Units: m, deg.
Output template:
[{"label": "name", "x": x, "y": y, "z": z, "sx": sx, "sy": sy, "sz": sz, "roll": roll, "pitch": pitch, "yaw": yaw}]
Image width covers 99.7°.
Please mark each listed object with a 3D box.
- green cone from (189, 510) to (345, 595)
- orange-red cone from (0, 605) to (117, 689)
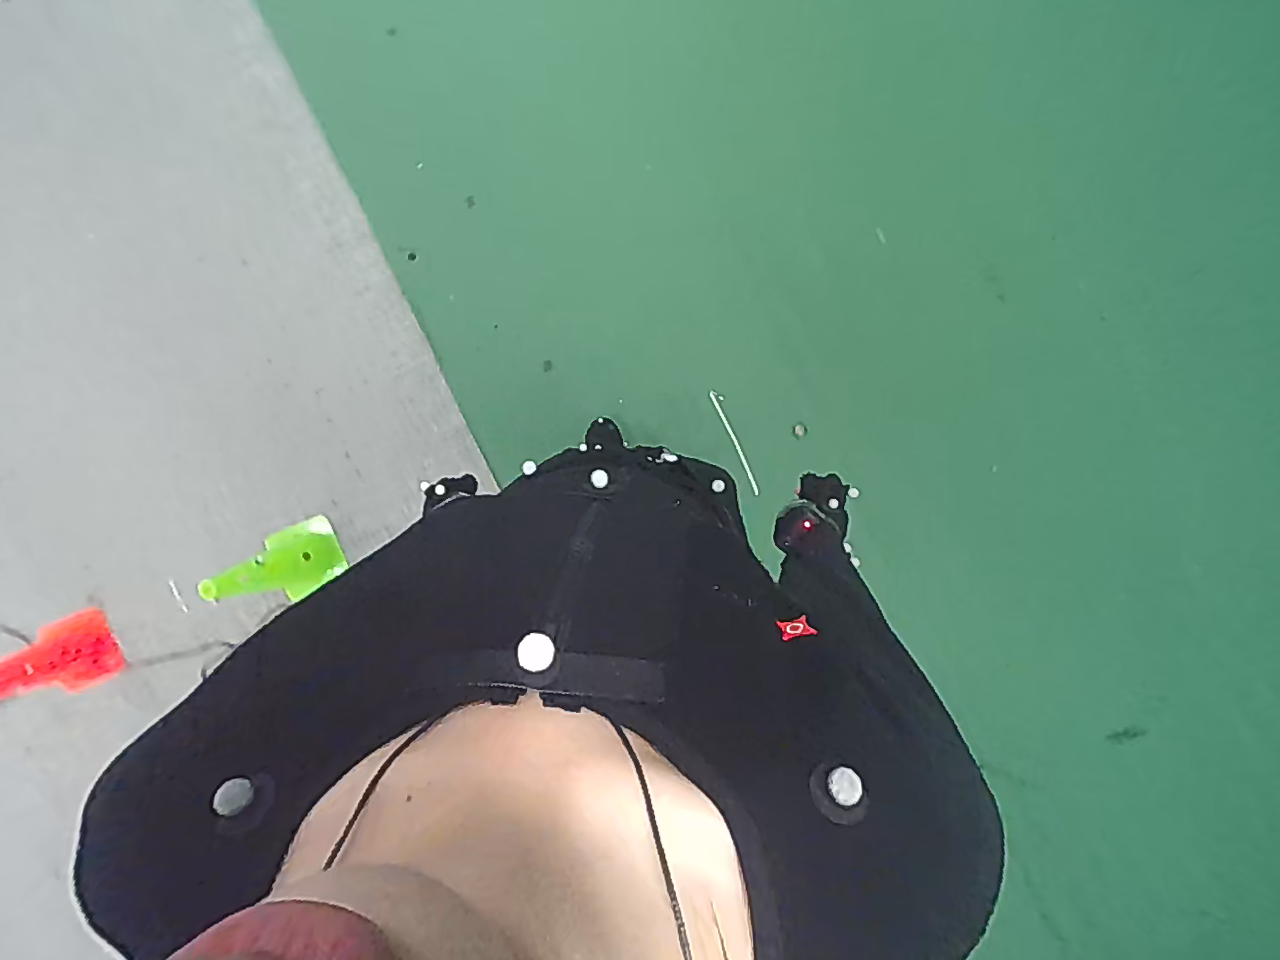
[{"label": "green cone", "x": -0.965, "y": 0.215, "z": 1.368, "sx": 0.202, "sy": 0.368, "sz": 0.200, "roll": -23, "pitch": 93, "yaw": 4}, {"label": "orange-red cone", "x": -1.643, "y": 0.489, "z": 1.404, "sx": 0.199, "sy": 0.360, "sz": 0.198, "roll": -21, "pitch": 94, "yaw": 1}]
